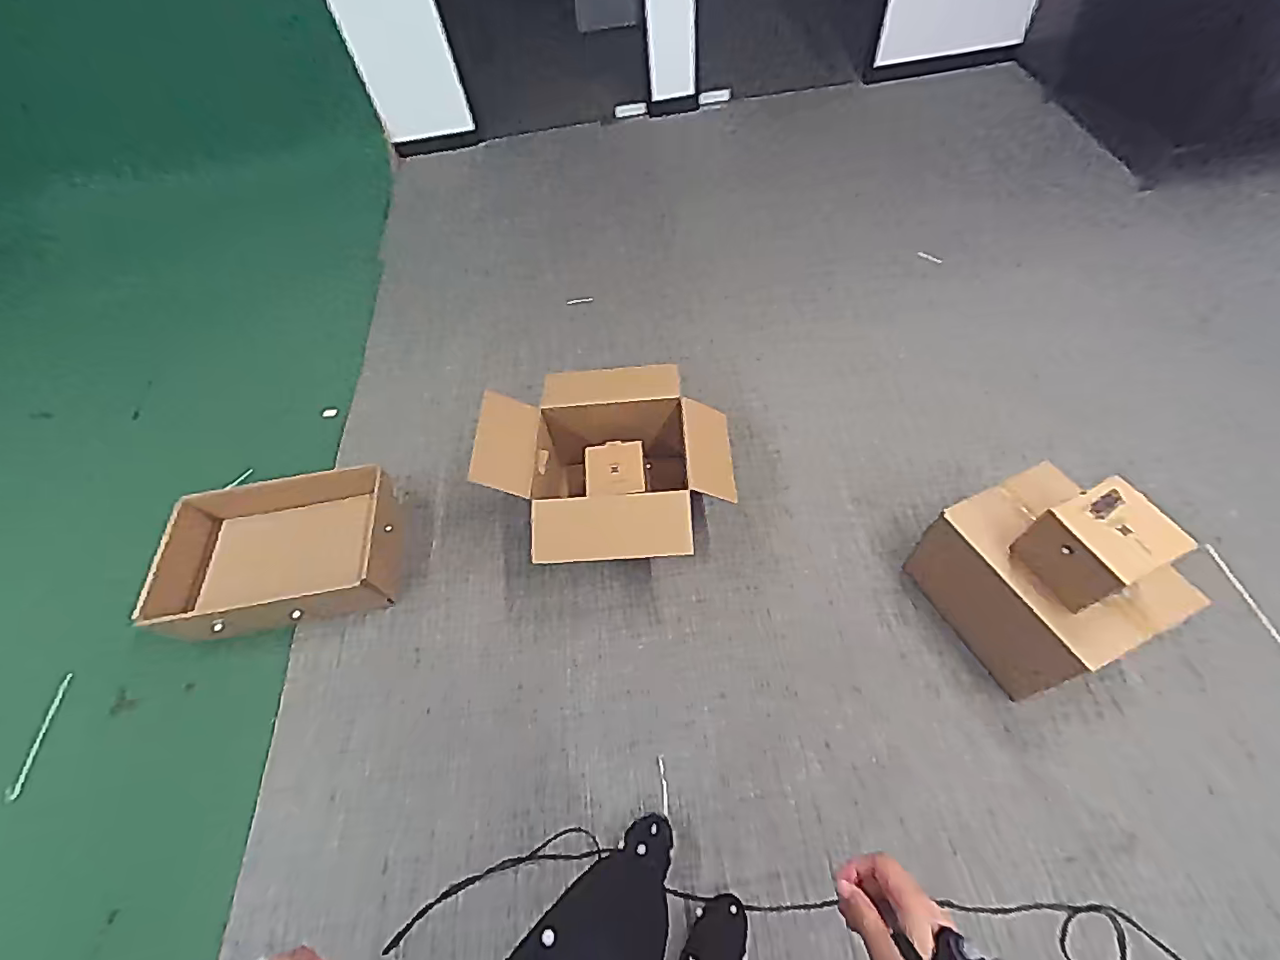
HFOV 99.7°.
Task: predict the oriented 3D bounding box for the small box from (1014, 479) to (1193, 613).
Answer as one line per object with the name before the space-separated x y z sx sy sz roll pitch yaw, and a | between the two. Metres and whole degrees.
small box | 0.903 0.136 1.077 0.168 0.176 0.179 -24 57 -7
